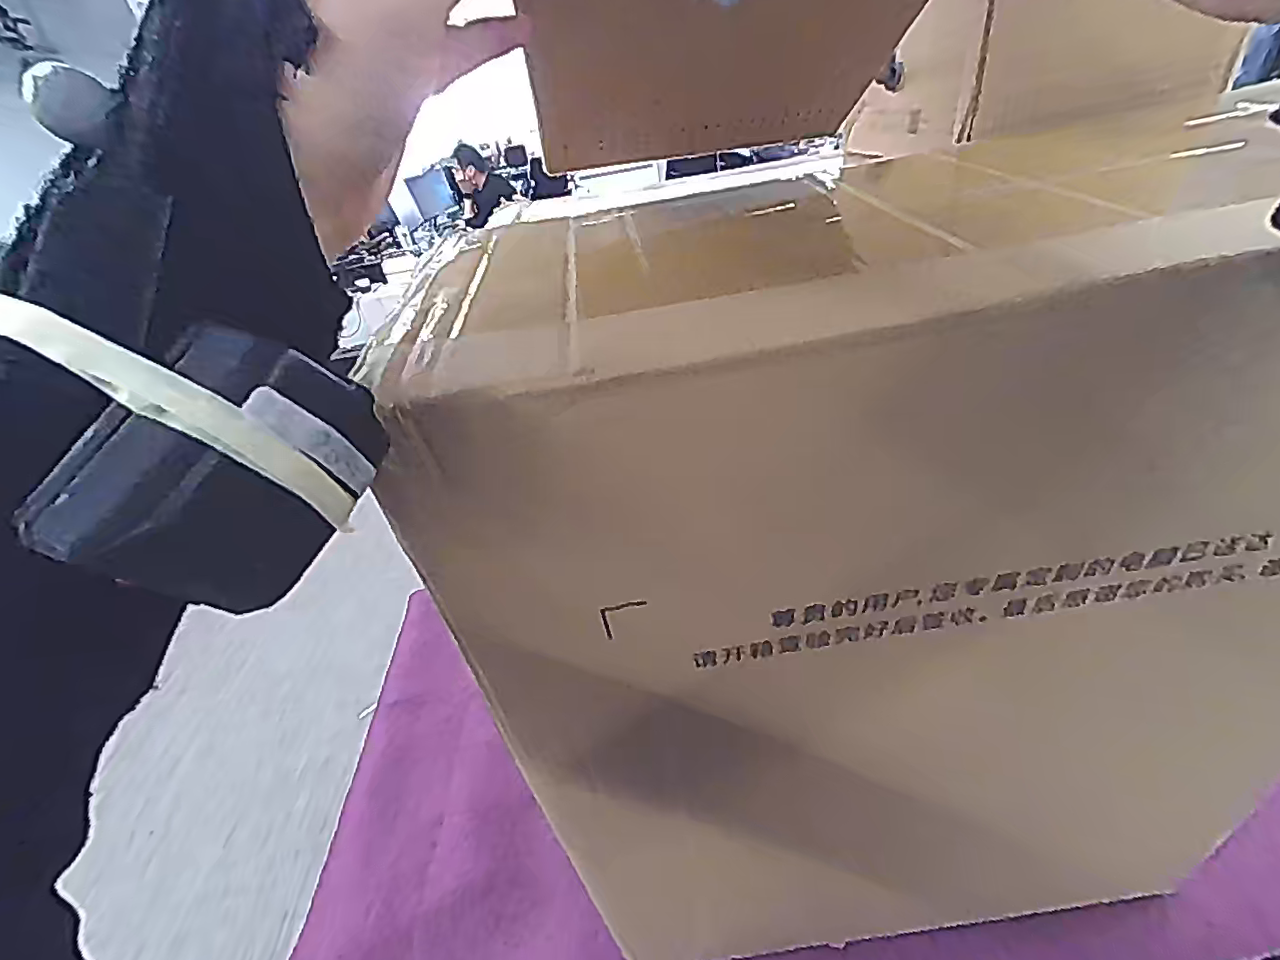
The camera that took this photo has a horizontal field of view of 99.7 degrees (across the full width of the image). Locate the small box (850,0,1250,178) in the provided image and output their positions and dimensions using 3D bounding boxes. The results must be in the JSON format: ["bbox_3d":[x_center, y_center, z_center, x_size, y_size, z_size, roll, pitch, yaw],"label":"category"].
[{"bbox_3d":[0.260,-0.319,0.361,0.179,0.176,0.168,-14,35,-2],"label":"small box"}]

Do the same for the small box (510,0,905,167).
[{"bbox_3d":[0.023,-0.265,0.234,0.179,0.168,0.176,-9,2,-4],"label":"small box"}]
